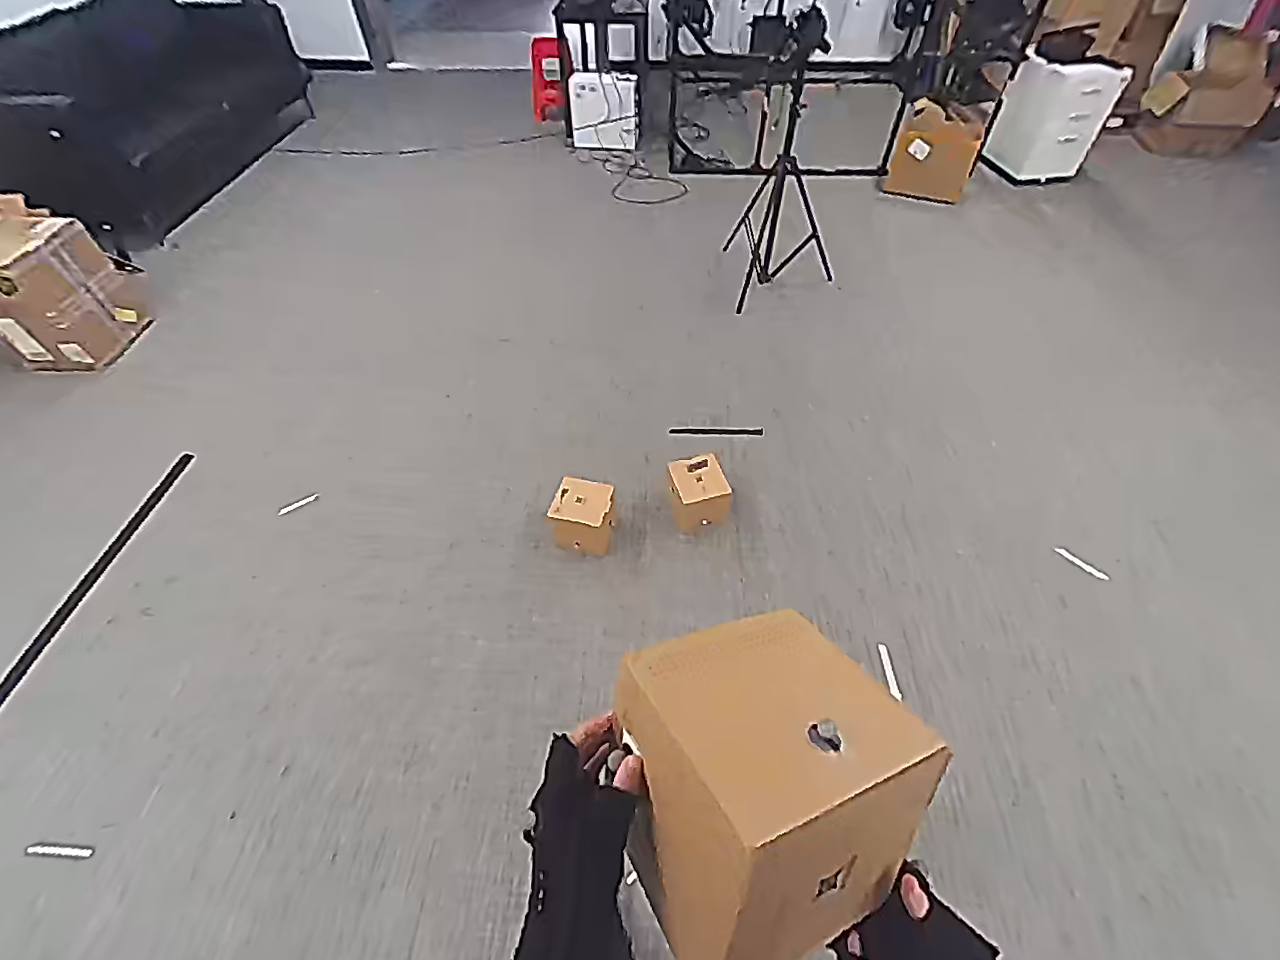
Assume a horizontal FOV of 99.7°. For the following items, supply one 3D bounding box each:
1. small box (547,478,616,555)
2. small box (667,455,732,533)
[{"bbox_3d":[-0.180,0.122,1.748,0.179,0.176,0.168,11,51,10],"label":"small box"},{"bbox_3d":[0.190,0.048,1.802,0.168,0.176,0.179,-13,52,-10],"label":"small box"}]
